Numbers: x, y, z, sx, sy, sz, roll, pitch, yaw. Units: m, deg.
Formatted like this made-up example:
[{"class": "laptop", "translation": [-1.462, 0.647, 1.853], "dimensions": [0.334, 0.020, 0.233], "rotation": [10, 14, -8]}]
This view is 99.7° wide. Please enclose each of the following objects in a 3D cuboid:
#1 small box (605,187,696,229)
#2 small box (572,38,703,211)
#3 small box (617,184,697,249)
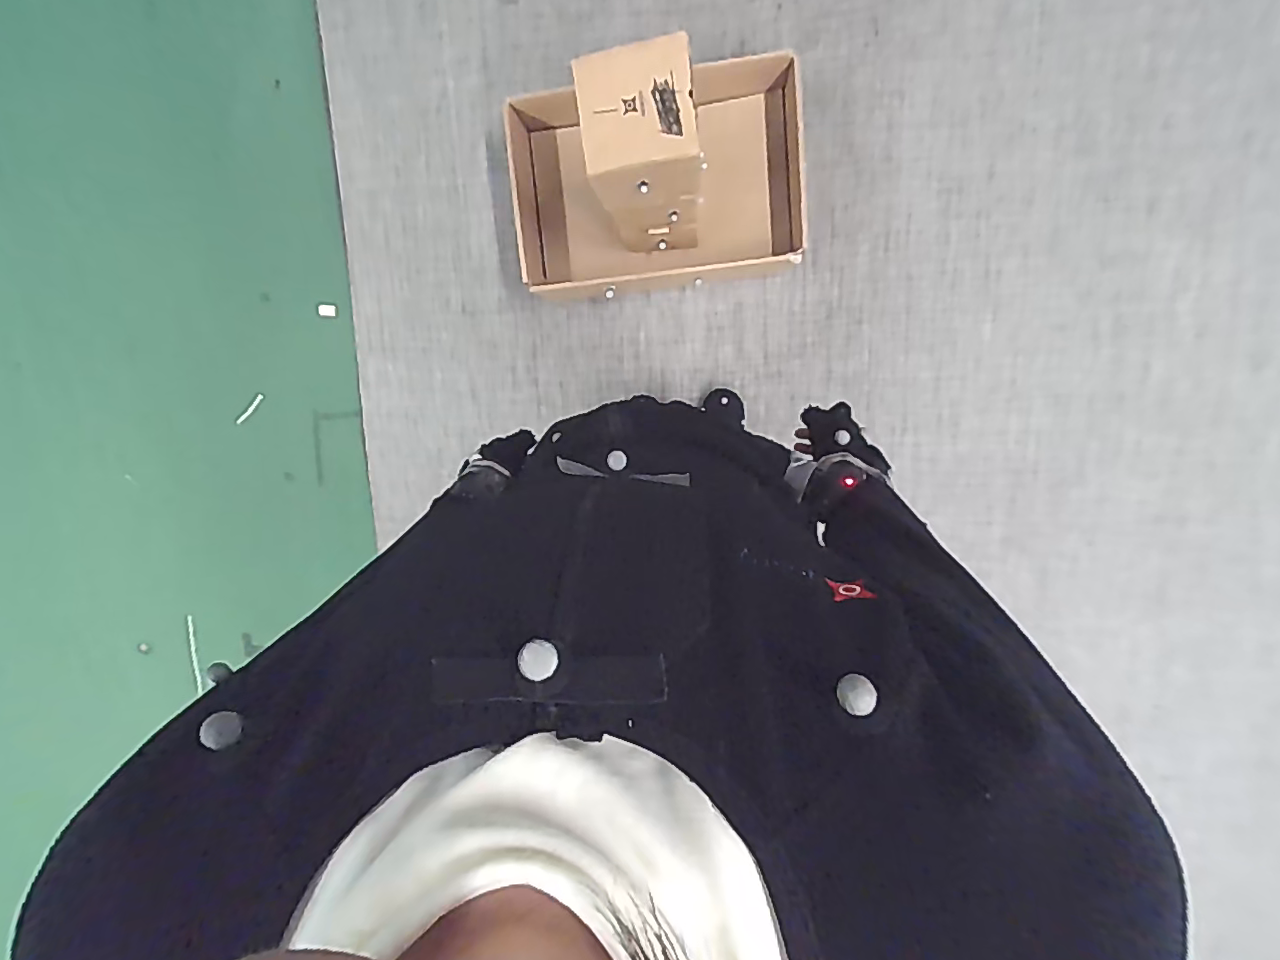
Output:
[{"class": "small box", "translation": [0.021, -0.600, 1.044], "dimensions": [0.168, 0.176, 0.179], "rotation": [-2, 98, 7]}, {"class": "small box", "translation": [0.003, -0.565, 0.885], "dimensions": [0.179, 0.176, 0.168], "rotation": [-9, 99, 7]}, {"class": "small box", "translation": [0.041, -0.624, 1.203], "dimensions": [0.168, 0.176, 0.179], "rotation": [-1, 99, 8]}]
